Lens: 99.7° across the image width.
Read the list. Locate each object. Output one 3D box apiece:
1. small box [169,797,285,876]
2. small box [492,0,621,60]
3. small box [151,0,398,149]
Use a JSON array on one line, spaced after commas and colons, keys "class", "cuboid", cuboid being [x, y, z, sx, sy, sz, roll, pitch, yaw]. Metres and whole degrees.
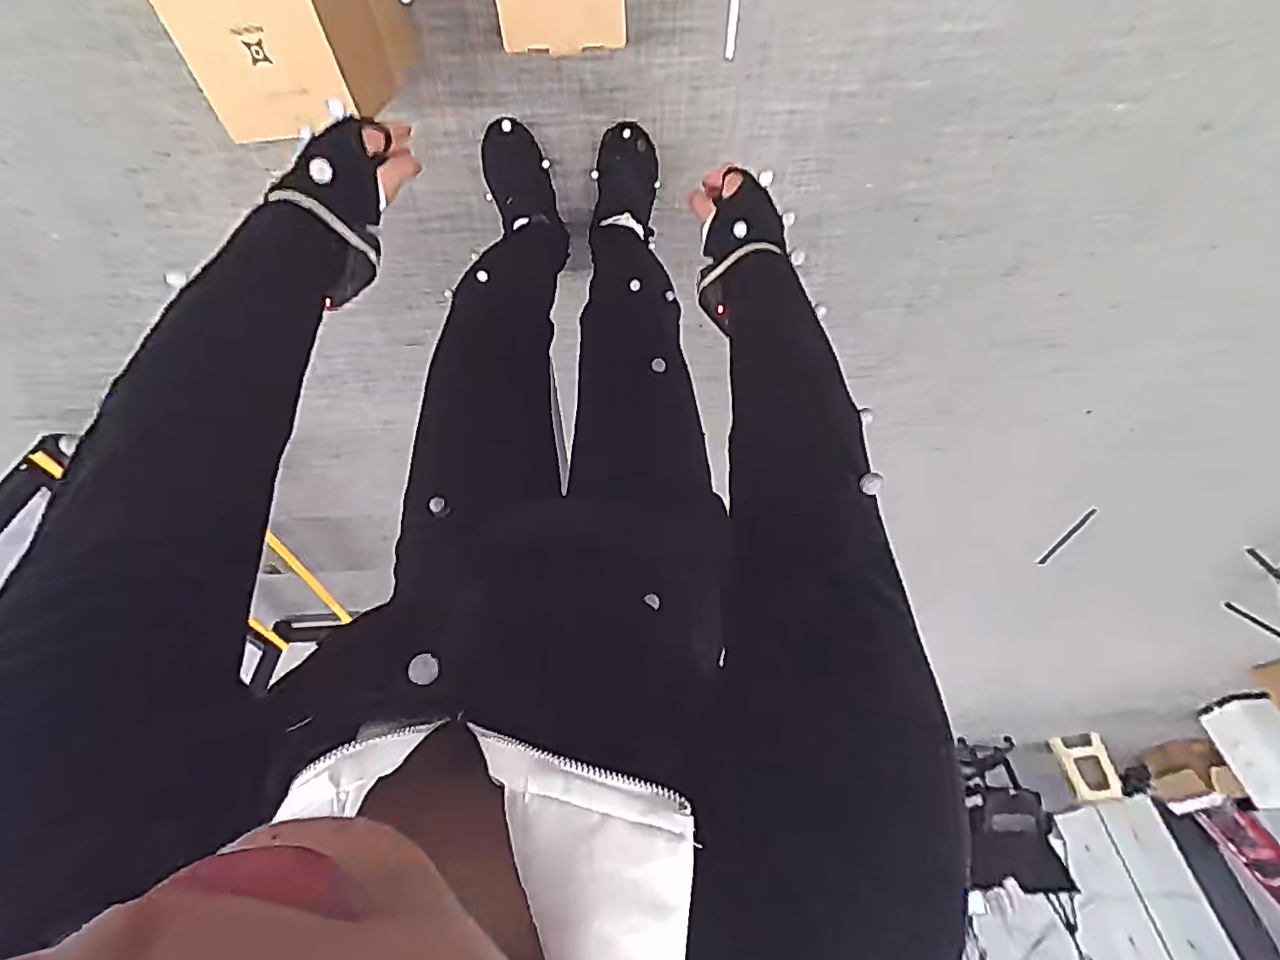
[{"class": "small box", "cuboid": [-1.163, 1.014, 1.539, 0.179, 0.176, 0.168, -1, 140, -1]}, {"class": "small box", "cuboid": [-0.110, -0.692, 0.720, 0.168, 0.176, 0.179, -2, 140, 0]}, {"class": "small box", "cuboid": [-0.417, -0.527, 0.642, 0.168, 0.176, 0.179, -4, 141, 3]}]
